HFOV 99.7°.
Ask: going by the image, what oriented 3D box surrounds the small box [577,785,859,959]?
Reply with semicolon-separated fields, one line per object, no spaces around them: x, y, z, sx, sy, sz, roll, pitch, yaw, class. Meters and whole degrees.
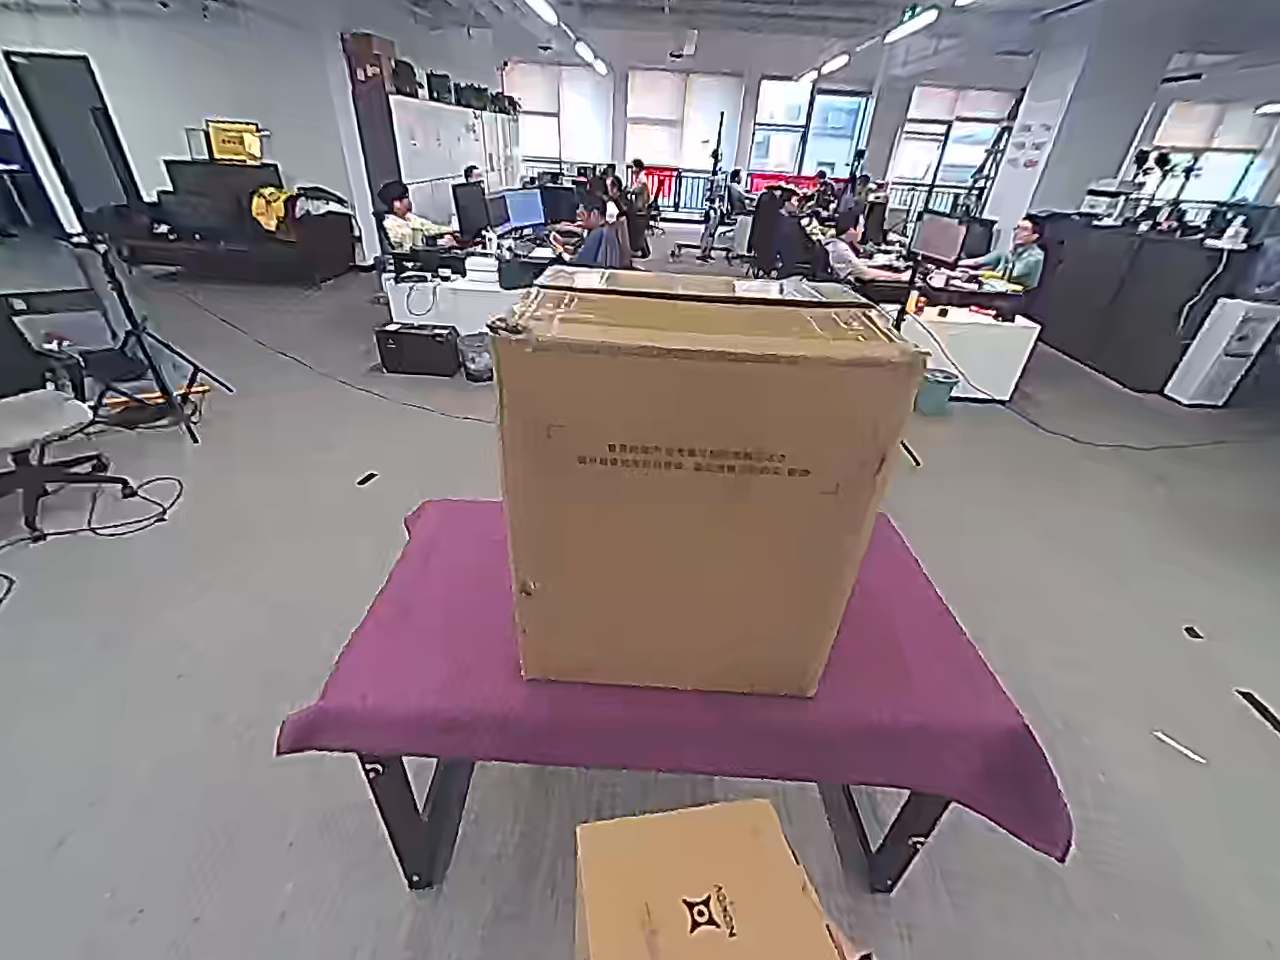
0.046;0.376;0.417;0.179;0.176;0.168;-2;21;-12;small box
